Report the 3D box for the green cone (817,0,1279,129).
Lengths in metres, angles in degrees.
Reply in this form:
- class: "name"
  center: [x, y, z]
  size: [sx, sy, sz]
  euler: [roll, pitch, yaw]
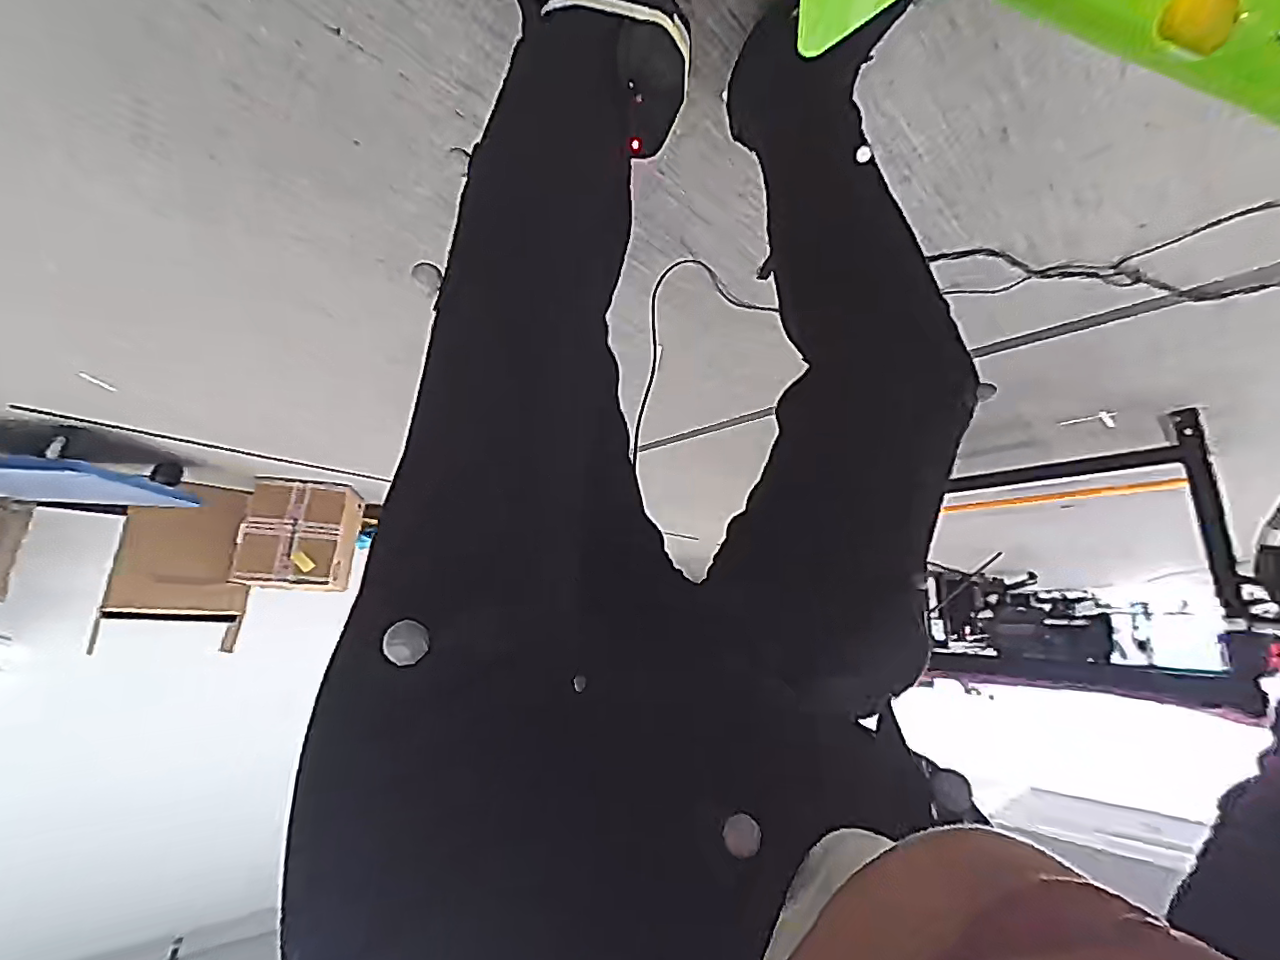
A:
- class: "green cone"
  center: [0.270, -0.222, 0.222]
  size: [0.202, 0.368, 0.200]
  euler: [-33, 163, 4]
